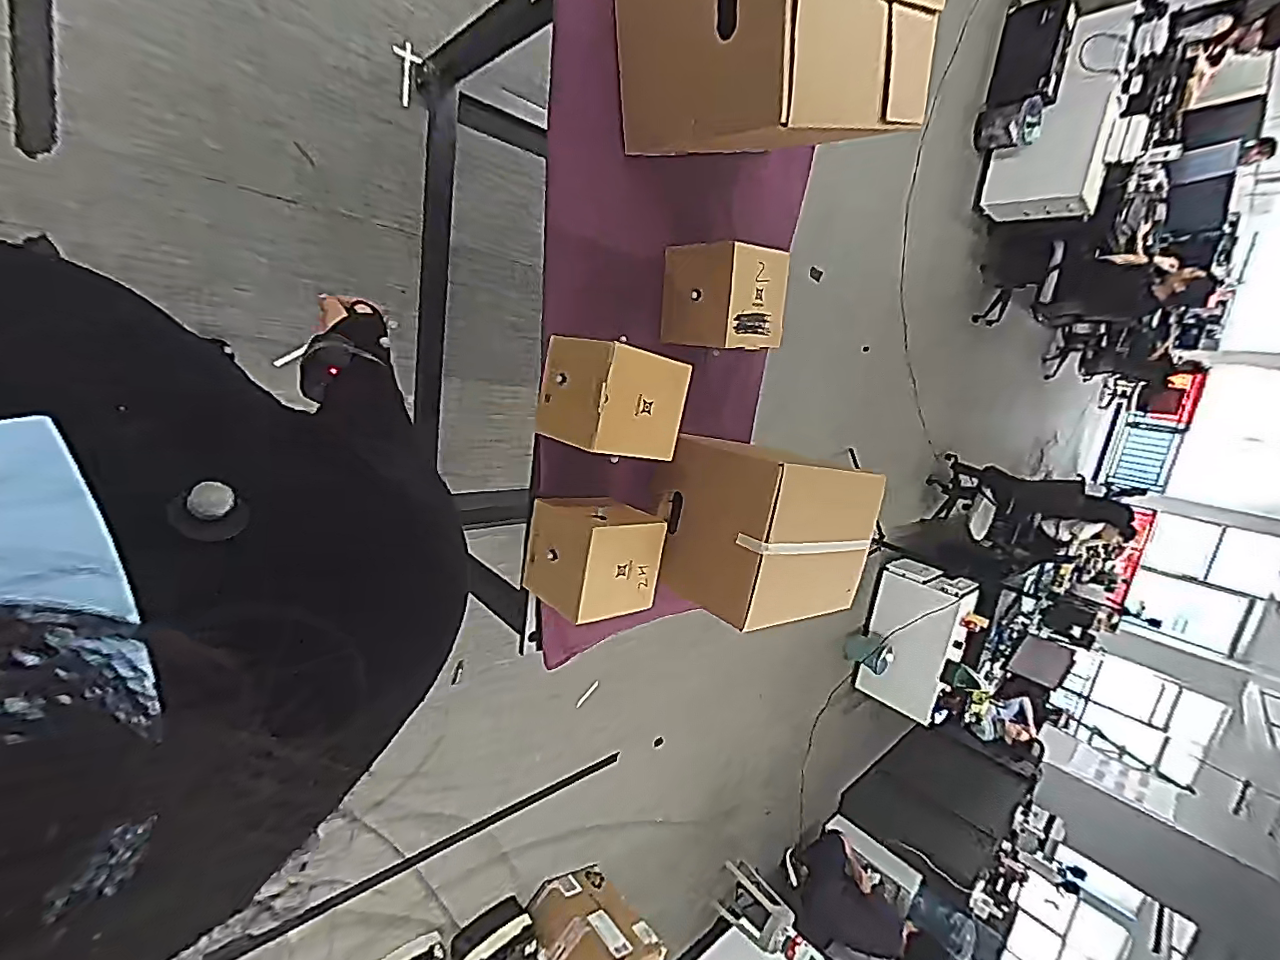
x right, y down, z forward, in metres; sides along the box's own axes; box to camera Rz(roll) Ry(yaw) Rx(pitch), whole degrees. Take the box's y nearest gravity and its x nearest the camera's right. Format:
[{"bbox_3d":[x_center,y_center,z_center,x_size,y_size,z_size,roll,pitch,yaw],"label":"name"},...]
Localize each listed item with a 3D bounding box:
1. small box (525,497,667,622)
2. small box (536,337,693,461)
[{"bbox_3d":[-0.082,0.130,0.959,0.179,0.176,0.168,1,104,-46],"label":"small box"},{"bbox_3d":[-0.045,-0.137,0.902,0.179,0.176,0.168,4,102,-44],"label":"small box"}]
